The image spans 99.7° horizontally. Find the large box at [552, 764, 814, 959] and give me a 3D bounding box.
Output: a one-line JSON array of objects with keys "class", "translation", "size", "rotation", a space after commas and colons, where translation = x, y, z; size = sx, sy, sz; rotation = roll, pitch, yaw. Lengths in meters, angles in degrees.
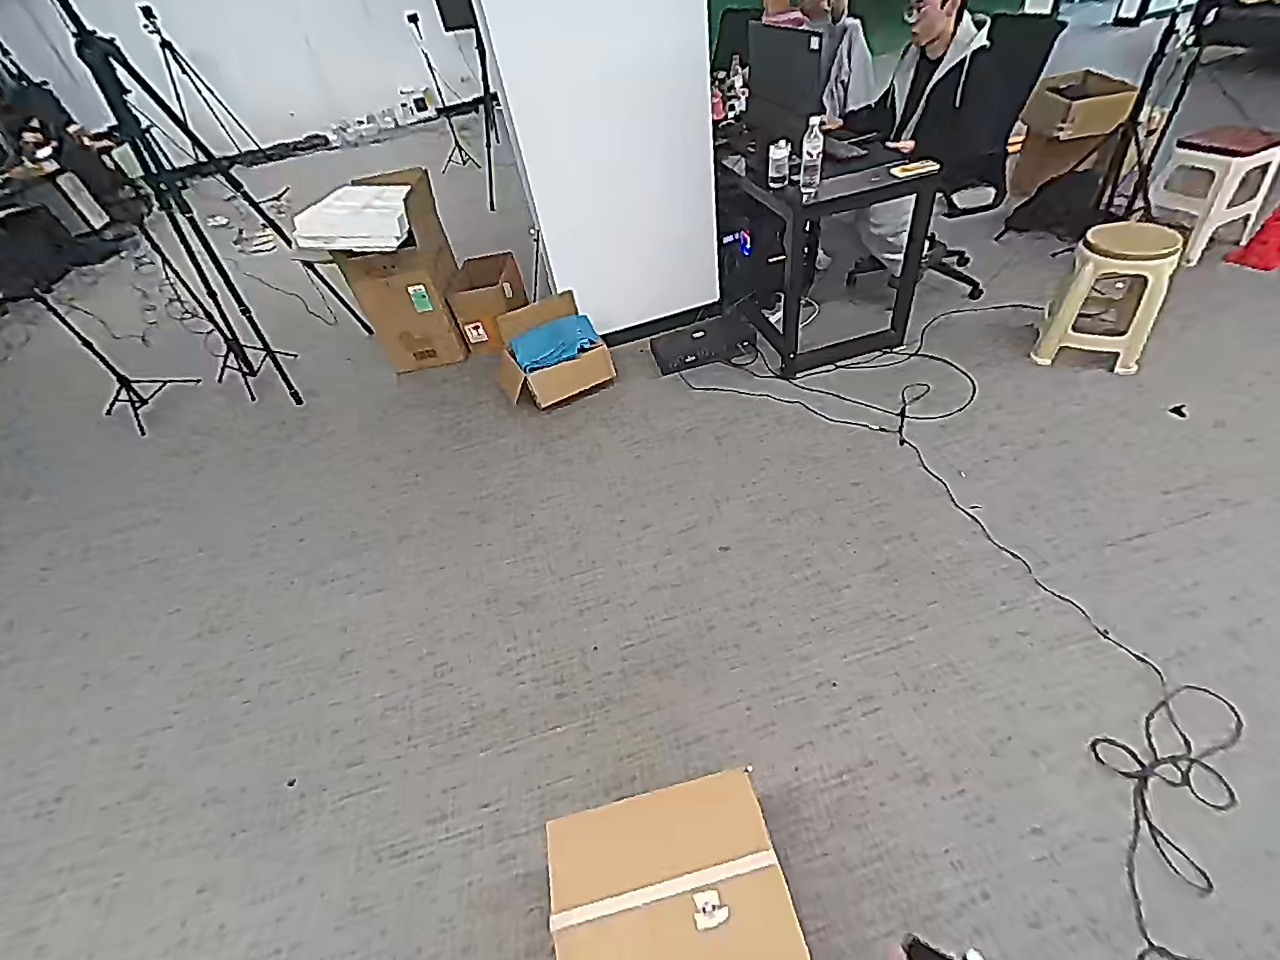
[{"class": "large box", "translation": [0.073, 0.816, 1.046], "size": [0.408, 0.320, 0.320], "rotation": [-14, 44, -3]}]
